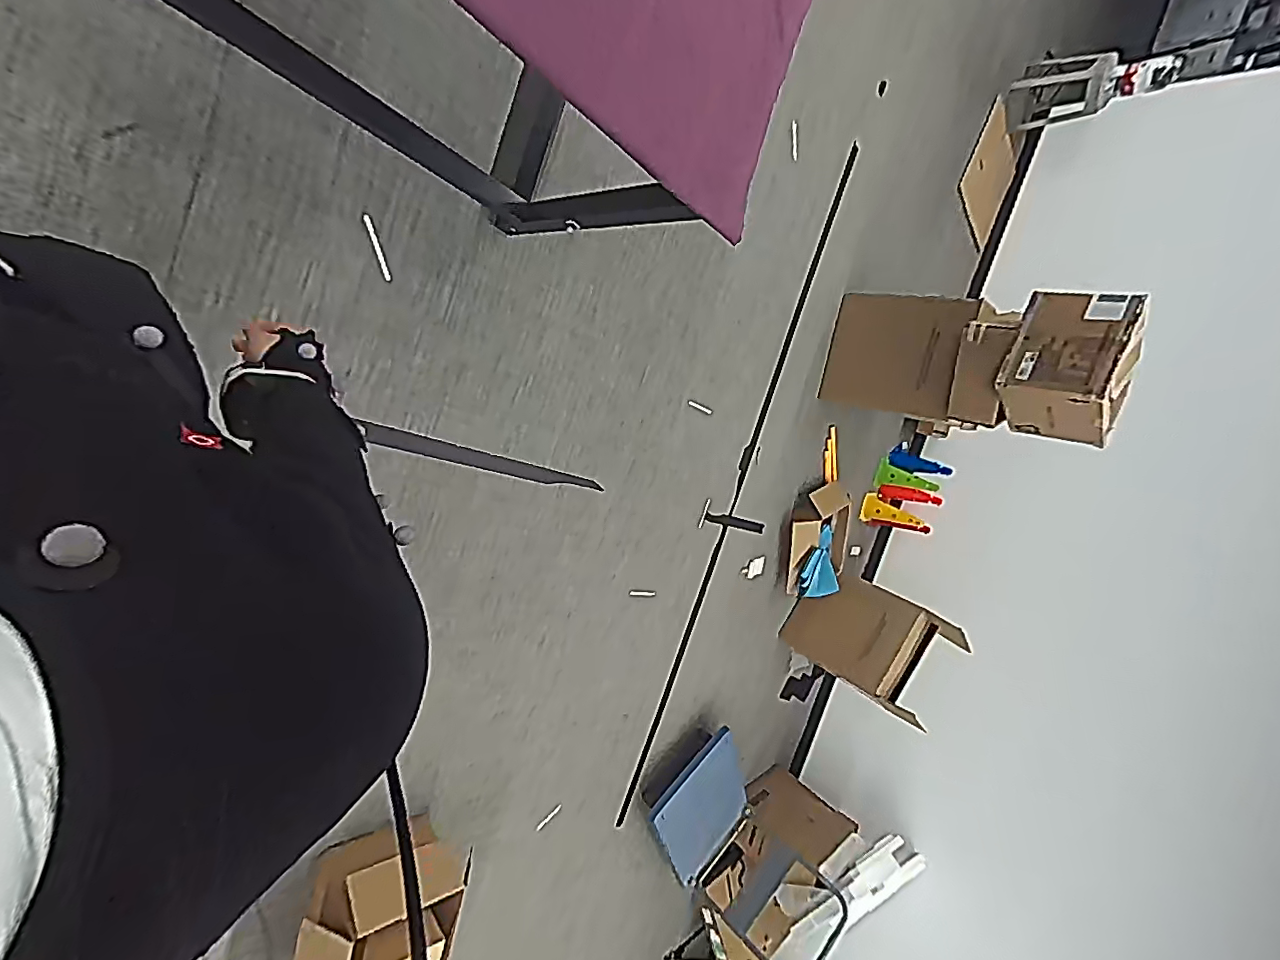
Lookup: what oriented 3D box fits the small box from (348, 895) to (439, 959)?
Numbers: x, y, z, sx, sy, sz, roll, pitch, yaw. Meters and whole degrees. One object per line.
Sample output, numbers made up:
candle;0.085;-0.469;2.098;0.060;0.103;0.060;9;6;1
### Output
small box;-0.701;1.338;1.524;0.168;0.176;0.179;12;97;-48
